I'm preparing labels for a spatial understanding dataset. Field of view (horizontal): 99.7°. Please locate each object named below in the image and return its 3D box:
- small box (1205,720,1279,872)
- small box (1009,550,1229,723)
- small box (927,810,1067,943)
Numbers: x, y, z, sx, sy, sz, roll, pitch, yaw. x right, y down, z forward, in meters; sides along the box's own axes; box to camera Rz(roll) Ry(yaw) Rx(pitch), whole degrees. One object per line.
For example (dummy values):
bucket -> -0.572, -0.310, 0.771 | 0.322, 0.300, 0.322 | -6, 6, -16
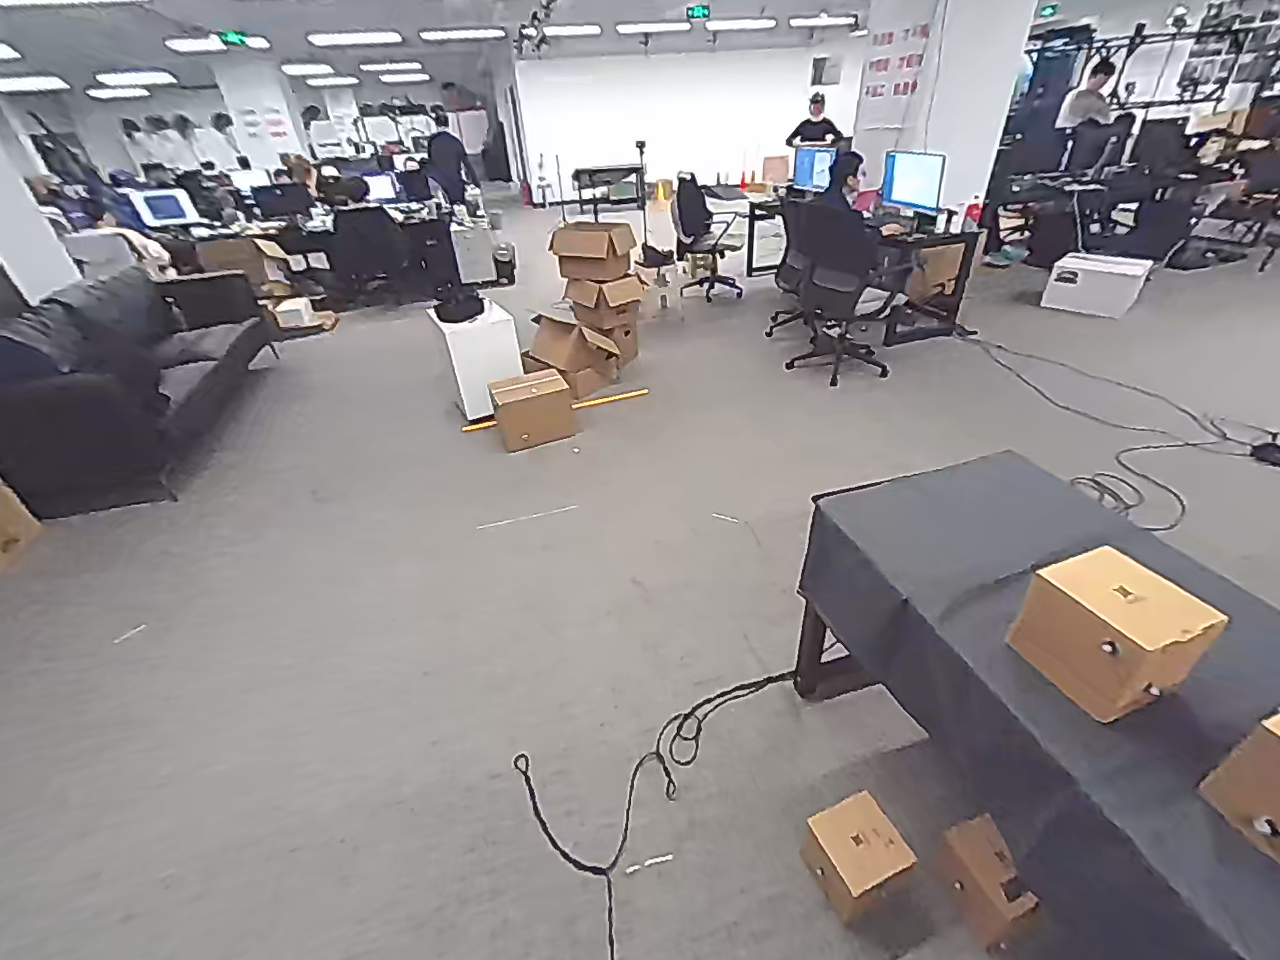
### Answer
small box -> 0.852, 0.385, 0.643 | 0.179, 0.176, 0.168 | -13, 34, -13
small box -> 0.739, 0.245, 0.861 | 0.168, 0.176, 0.179 | -14, 36, -15
small box -> 0.782, 0.886, 1.204 | 0.168, 0.176, 0.179 | -12, 34, -12
